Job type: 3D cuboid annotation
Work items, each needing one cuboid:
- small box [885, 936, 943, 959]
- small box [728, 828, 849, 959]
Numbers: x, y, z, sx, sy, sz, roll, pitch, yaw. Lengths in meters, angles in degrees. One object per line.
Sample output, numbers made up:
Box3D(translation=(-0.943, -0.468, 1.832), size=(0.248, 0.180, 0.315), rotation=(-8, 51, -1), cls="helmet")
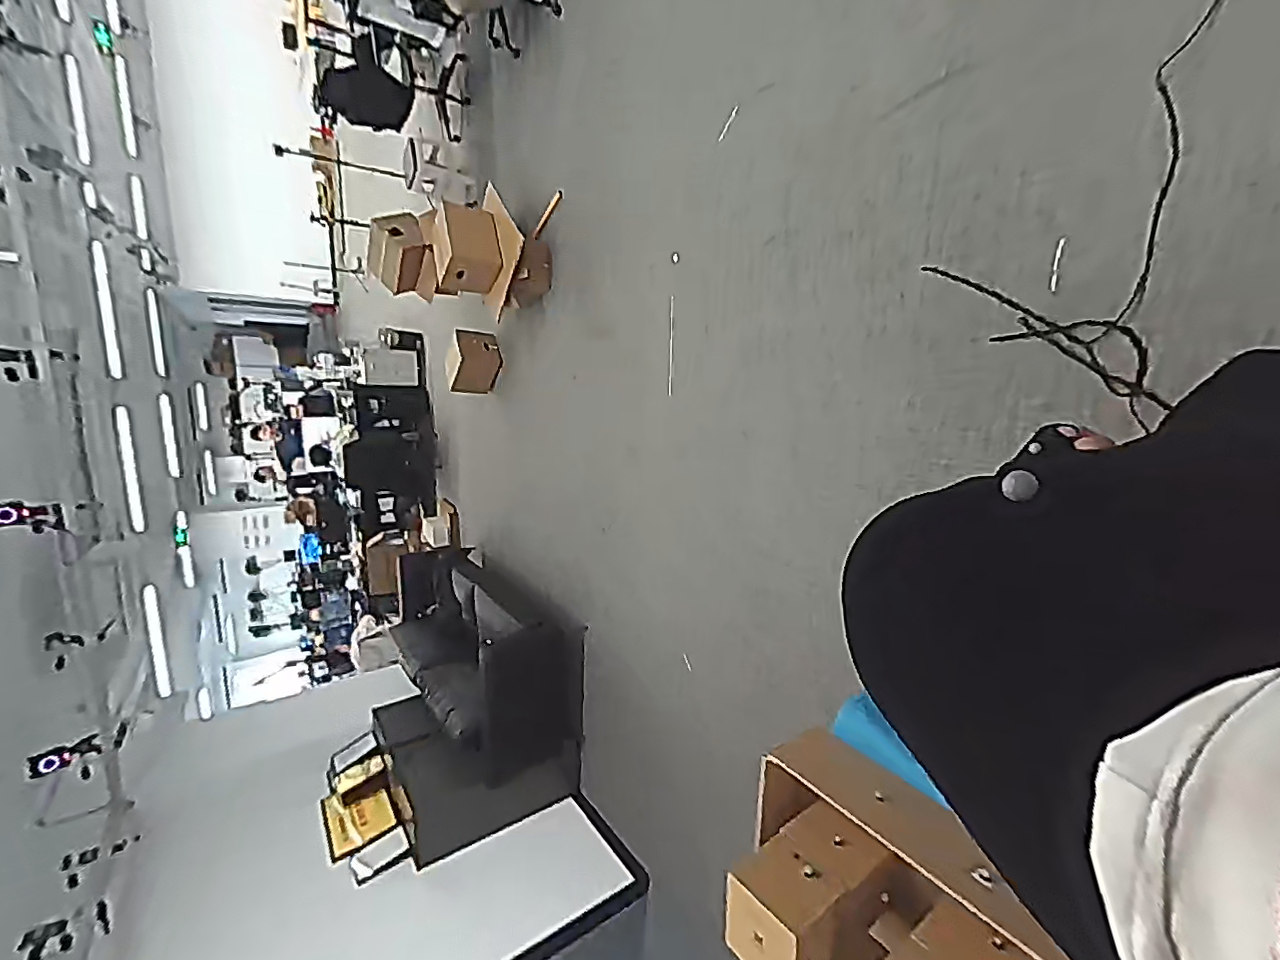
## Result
Box3D(translation=(0.454, 0.889, 0.850), size=(0.179, 0.176, 0.168), rotation=(16, 109, 54), cls="small box")
Box3D(translation=(0.294, 0.851, 1.073), size=(0.168, 0.176, 0.179), rotation=(15, 108, 51), cls="small box")
